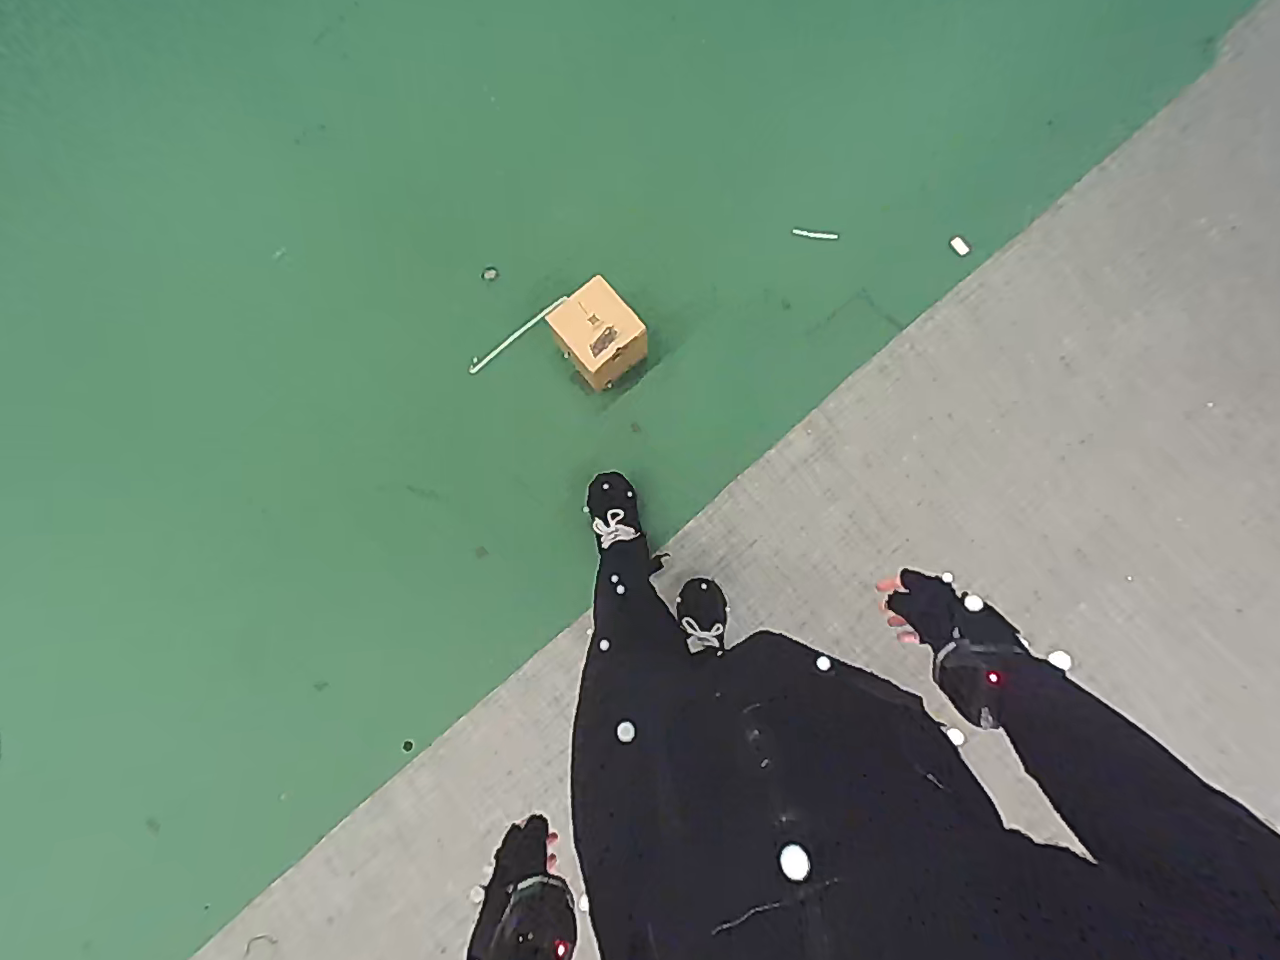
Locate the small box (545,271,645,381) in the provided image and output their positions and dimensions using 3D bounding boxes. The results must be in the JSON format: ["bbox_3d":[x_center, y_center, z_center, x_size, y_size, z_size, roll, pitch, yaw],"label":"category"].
[{"bbox_3d":[-0.100,-0.359,1.310,0.168,0.176,0.179,-40,84,-3],"label":"small box"}]
